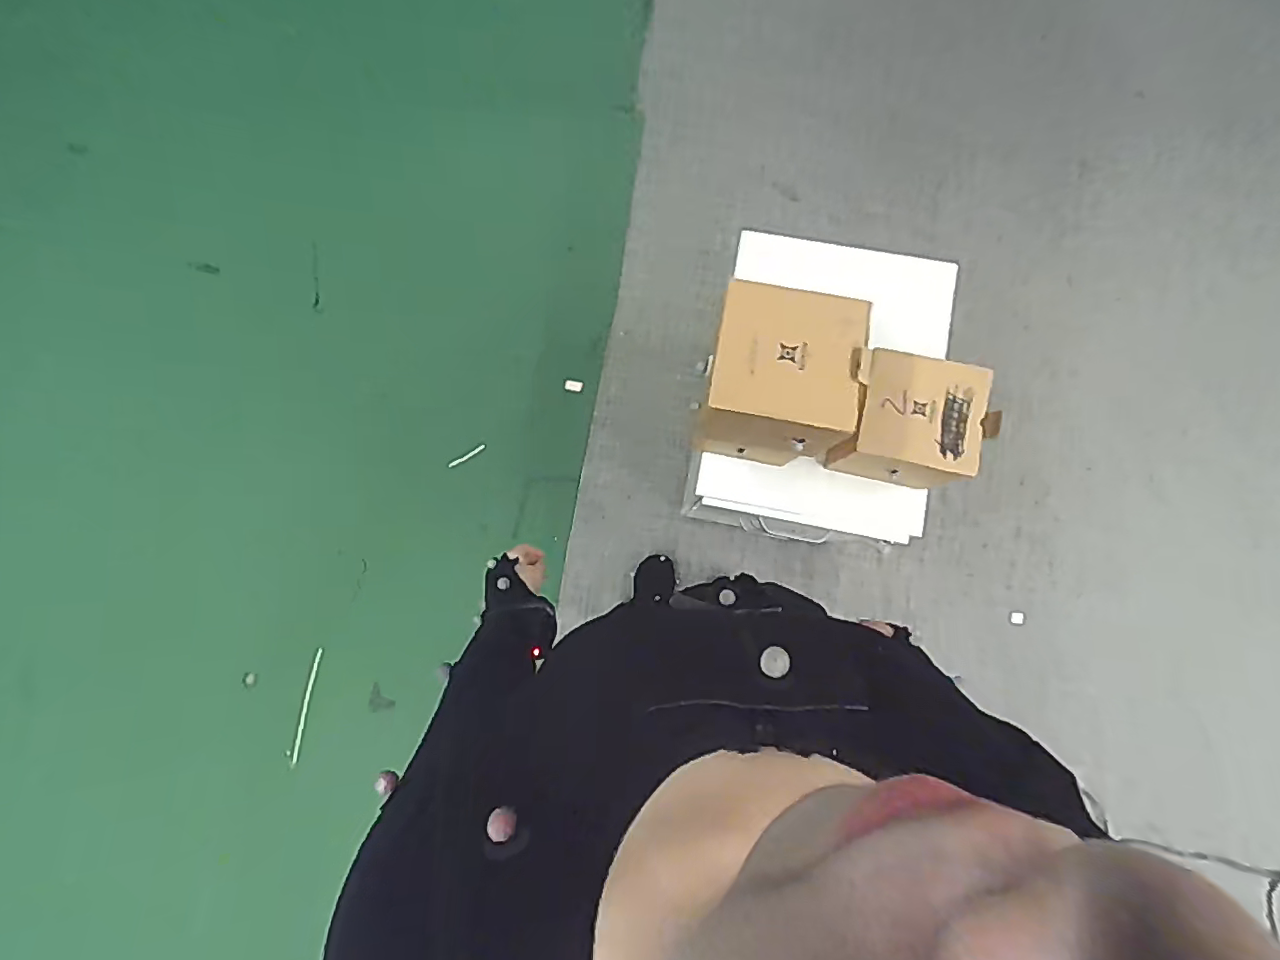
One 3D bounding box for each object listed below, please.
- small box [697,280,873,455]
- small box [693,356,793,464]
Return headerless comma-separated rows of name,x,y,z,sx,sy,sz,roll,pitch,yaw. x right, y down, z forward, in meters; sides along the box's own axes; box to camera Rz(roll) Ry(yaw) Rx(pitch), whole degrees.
small box,0.179,-0.136,0.715,0.179,0.176,0.168,10,82,3
small box,0.184,-0.131,0.878,0.168,0.176,0.179,12,83,1
